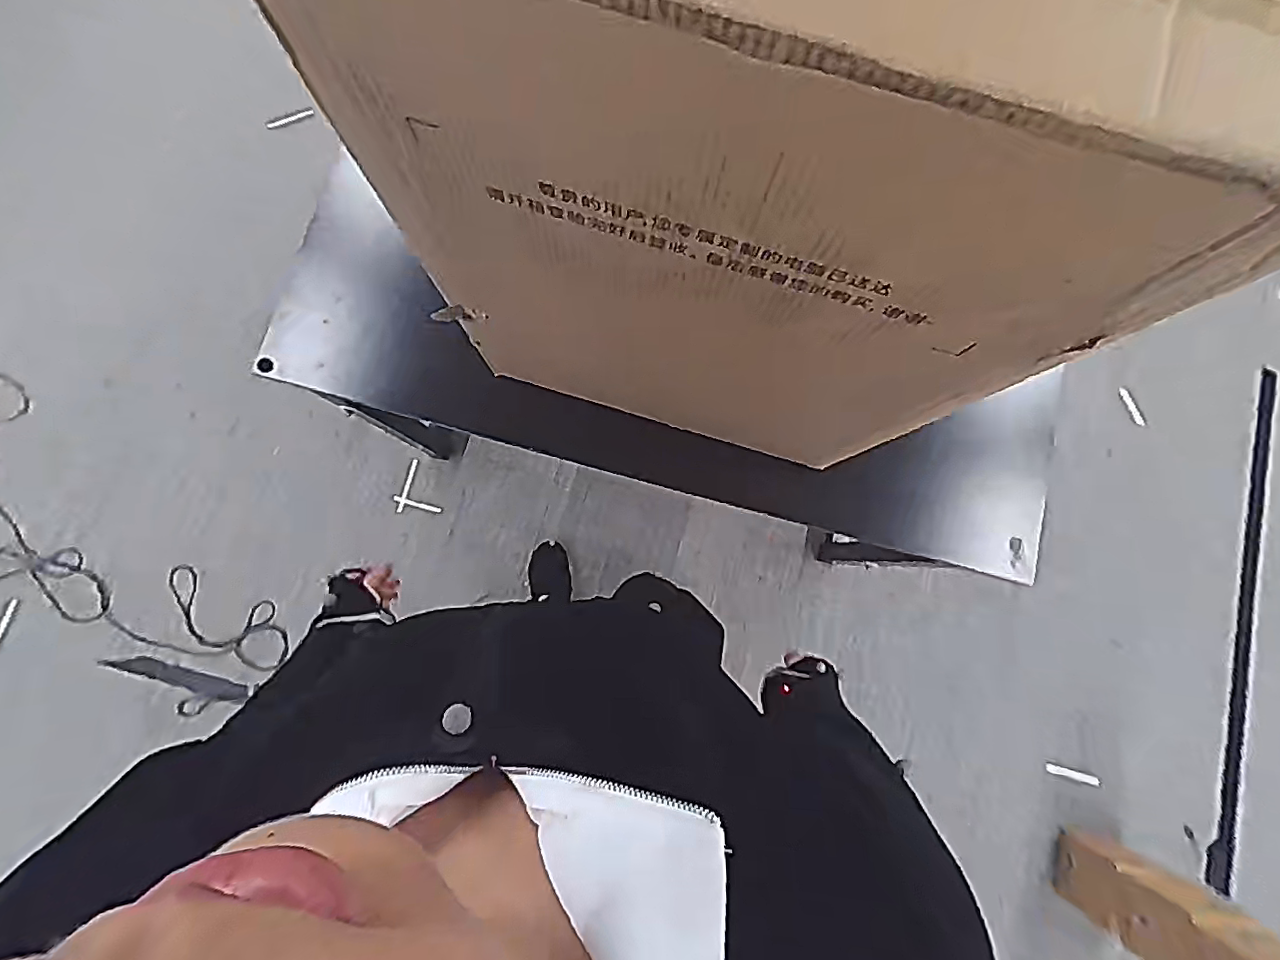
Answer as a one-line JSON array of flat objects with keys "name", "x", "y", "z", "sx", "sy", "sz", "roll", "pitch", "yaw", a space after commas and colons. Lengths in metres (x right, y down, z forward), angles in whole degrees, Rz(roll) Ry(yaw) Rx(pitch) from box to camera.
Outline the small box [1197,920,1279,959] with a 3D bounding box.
[{"name": "small box", "x": 1.234, "y": 0.991, "z": 1.042, "sx": 0.179, "sy": 0.176, "sz": 0.168, "roll": 6, "pitch": 81, "yaw": -2}]

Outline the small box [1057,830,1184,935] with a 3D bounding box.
[{"name": "small box", "x": 1.213, "y": 1.022, "z": 1.369, "sx": 0.179, "sy": 0.176, "sz": 0.168, "roll": 12, "pitch": 81, "yaw": 0}]

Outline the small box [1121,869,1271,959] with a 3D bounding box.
[{"name": "small box", "x": 1.232, "y": 1.004, "z": 1.206, "sx": 0.179, "sy": 0.176, "sz": 0.168, "roll": 8, "pitch": 80, "yaw": -2}]
